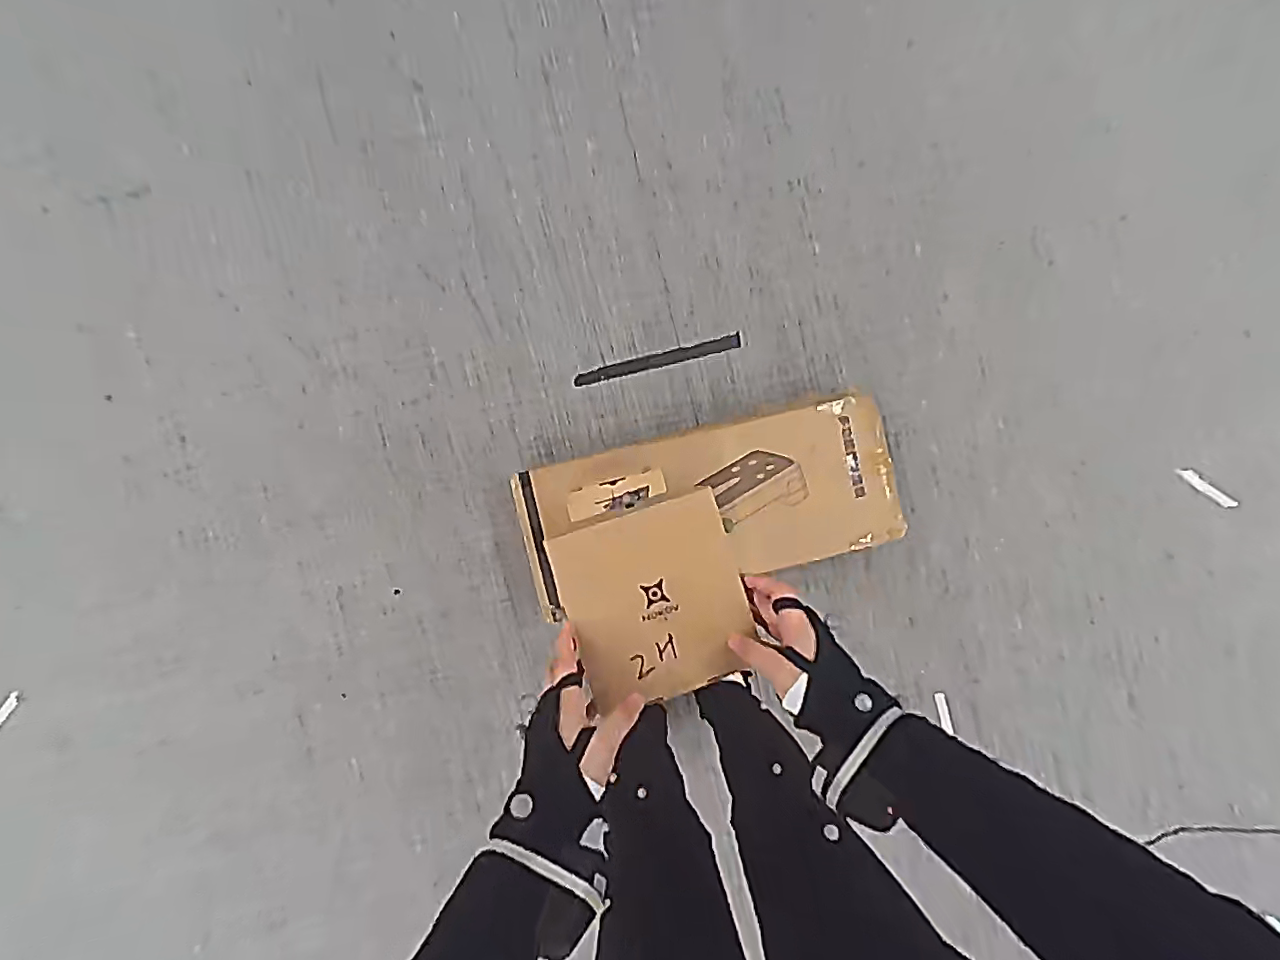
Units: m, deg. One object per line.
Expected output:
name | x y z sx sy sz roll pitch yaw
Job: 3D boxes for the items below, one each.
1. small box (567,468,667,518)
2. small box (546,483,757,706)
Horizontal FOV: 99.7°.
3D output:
small box | -0.028 0.082 0.960 0.168 0.176 0.179 -15 92 -2
small box | 0.006 0.110 0.593 0.168 0.176 0.179 -18 91 -3
